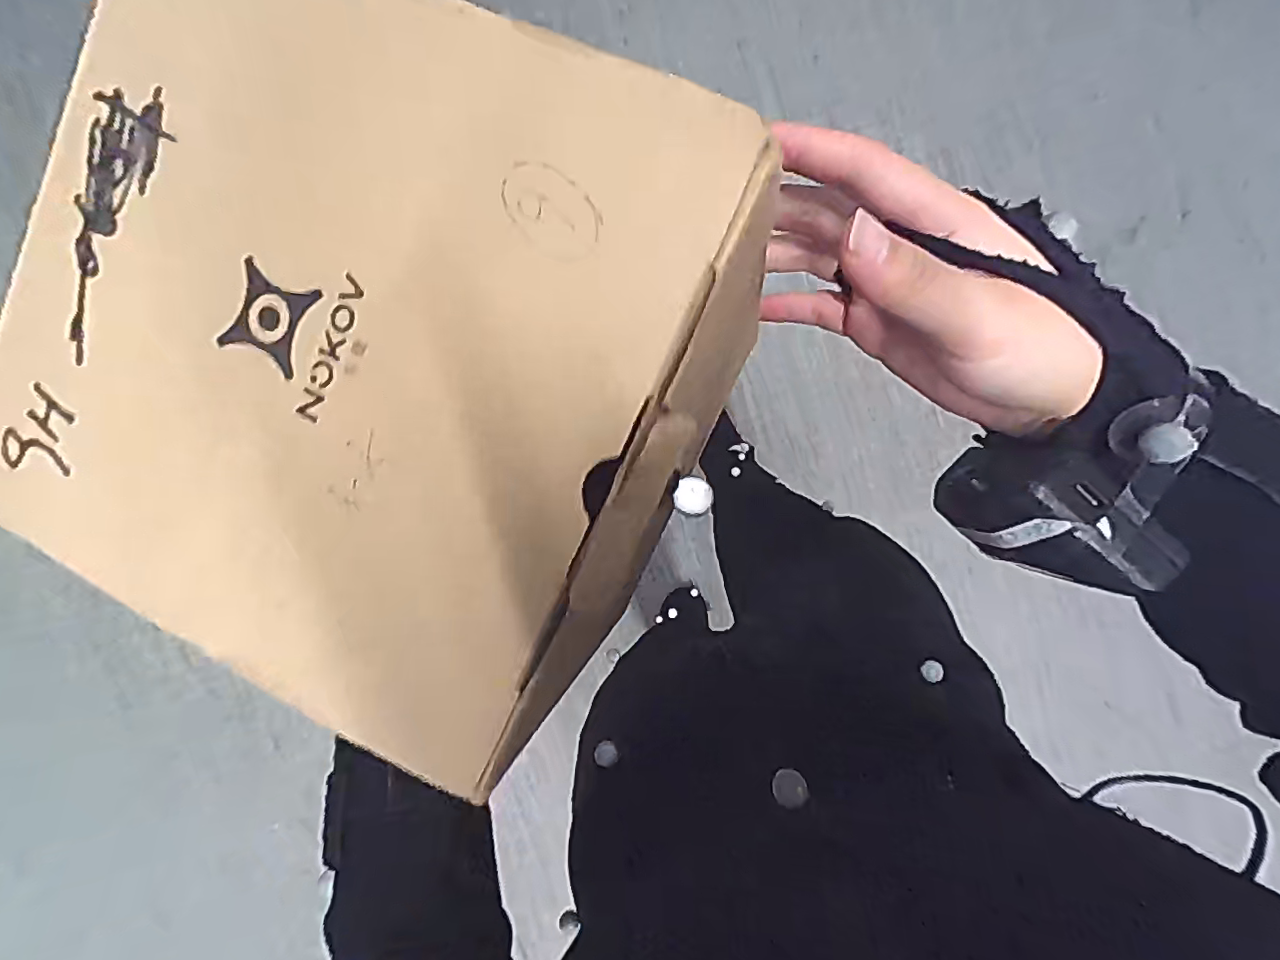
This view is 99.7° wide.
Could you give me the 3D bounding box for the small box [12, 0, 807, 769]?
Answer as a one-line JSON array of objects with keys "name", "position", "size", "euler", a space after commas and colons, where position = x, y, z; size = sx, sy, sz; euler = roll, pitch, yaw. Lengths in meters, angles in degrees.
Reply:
[{"name": "small box", "position": [-0.059, -0.040, 0.215], "size": [0.179, 0.176, 0.168], "euler": [27, 97, 9]}]
